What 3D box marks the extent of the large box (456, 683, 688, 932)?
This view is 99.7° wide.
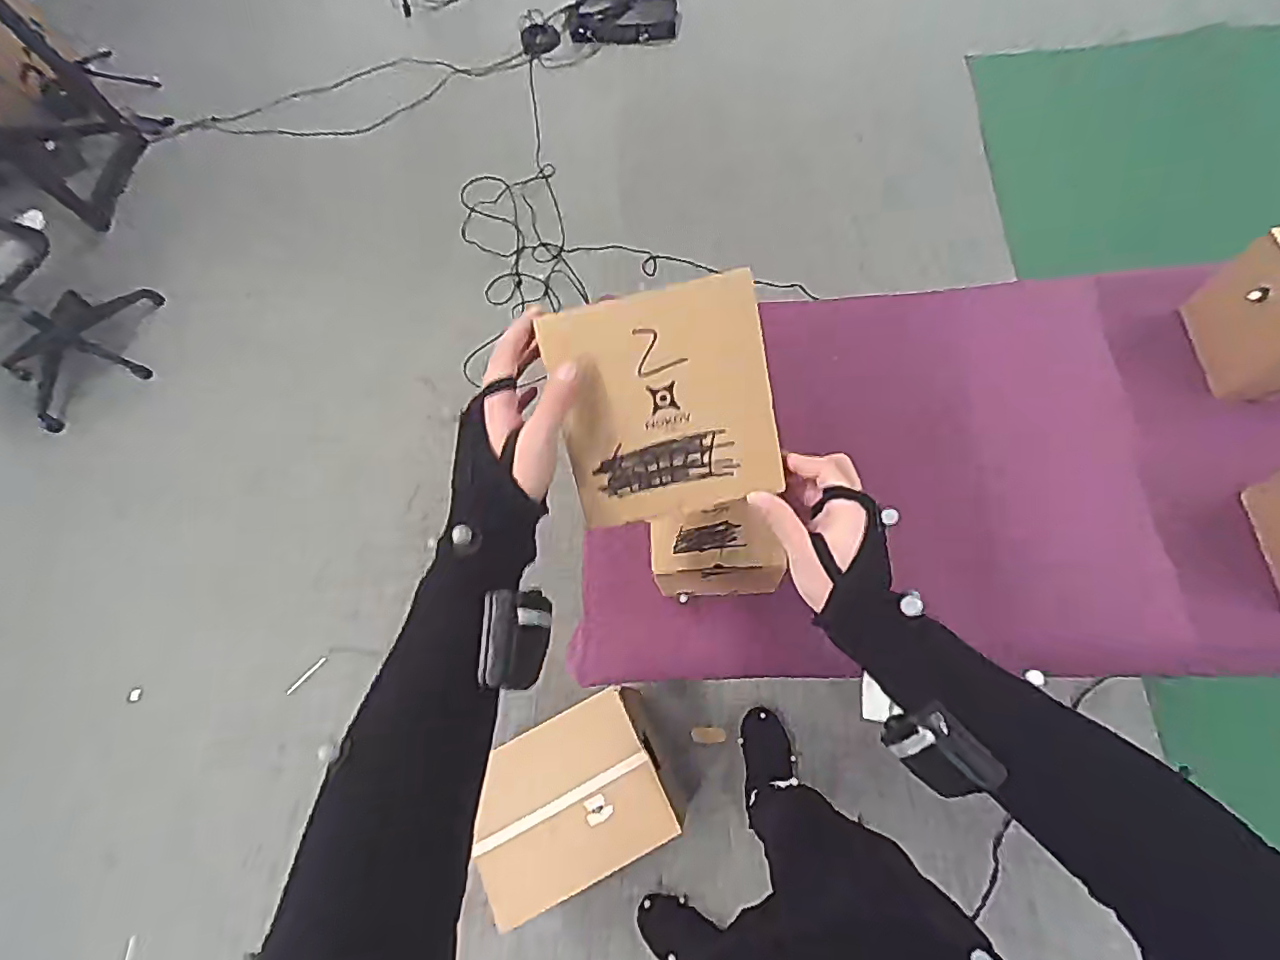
[{"bbox_3d":[-0.138,0.717,1.247,0.408,0.320,0.320,-27,67,-5],"label":"large box"}]

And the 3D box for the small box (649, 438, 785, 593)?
[{"bbox_3d":[0.104,0.060,0.759,0.168,0.176,0.179,-4,66,6],"label":"small box"}]

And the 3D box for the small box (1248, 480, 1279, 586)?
[{"bbox_3d":[0.904,0.063,0.640,0.168,0.176,0.179,-1,65,10],"label":"small box"}]

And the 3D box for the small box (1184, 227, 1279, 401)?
[{"bbox_3d":[0.929,-0.229,0.754,0.168,0.176,0.179,-1,69,10],"label":"small box"}]
